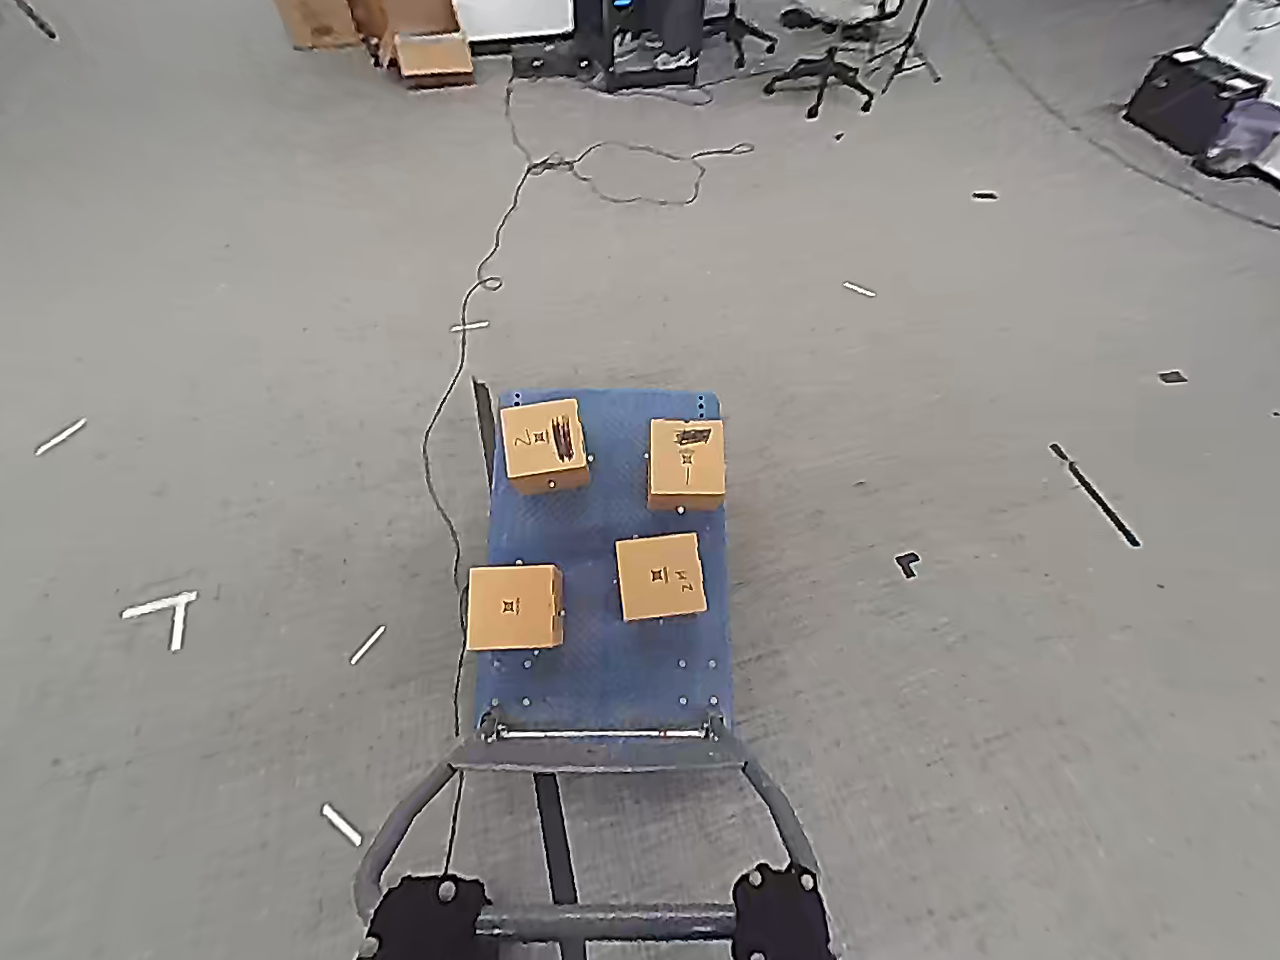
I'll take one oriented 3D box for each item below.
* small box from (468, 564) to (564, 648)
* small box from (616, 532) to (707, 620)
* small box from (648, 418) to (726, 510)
[{"bbox_3d":[-0.263,0.278,1.178,0.179,0.176,0.168,-2,74,-4],"label":"small box"},{"bbox_3d":[0.043,0.219,1.202,0.179,0.176,0.168,-6,75,-3],"label":"small box"},{"bbox_3d":[0.105,-0.033,1.274,0.168,0.176,0.179,0,75,-1],"label":"small box"}]
